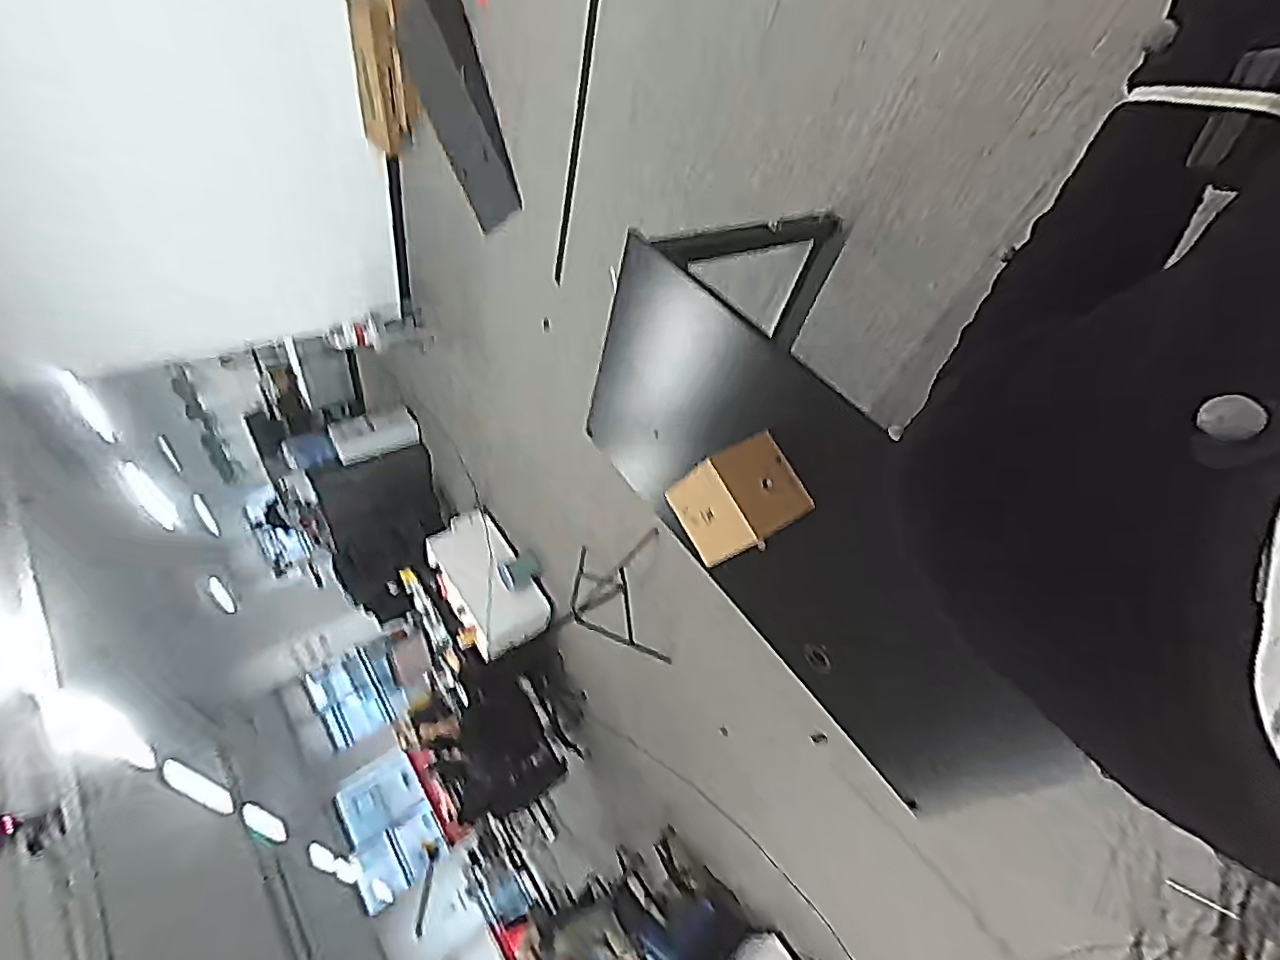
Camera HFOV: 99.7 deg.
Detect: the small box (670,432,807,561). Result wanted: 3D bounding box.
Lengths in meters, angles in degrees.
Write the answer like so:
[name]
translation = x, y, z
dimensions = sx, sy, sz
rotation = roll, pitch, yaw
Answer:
[small box]
translation = 0.197, 0.030, 1.049
dimensions = 0.168, 0.176, 0.179
rotation = 60, 148, 9
